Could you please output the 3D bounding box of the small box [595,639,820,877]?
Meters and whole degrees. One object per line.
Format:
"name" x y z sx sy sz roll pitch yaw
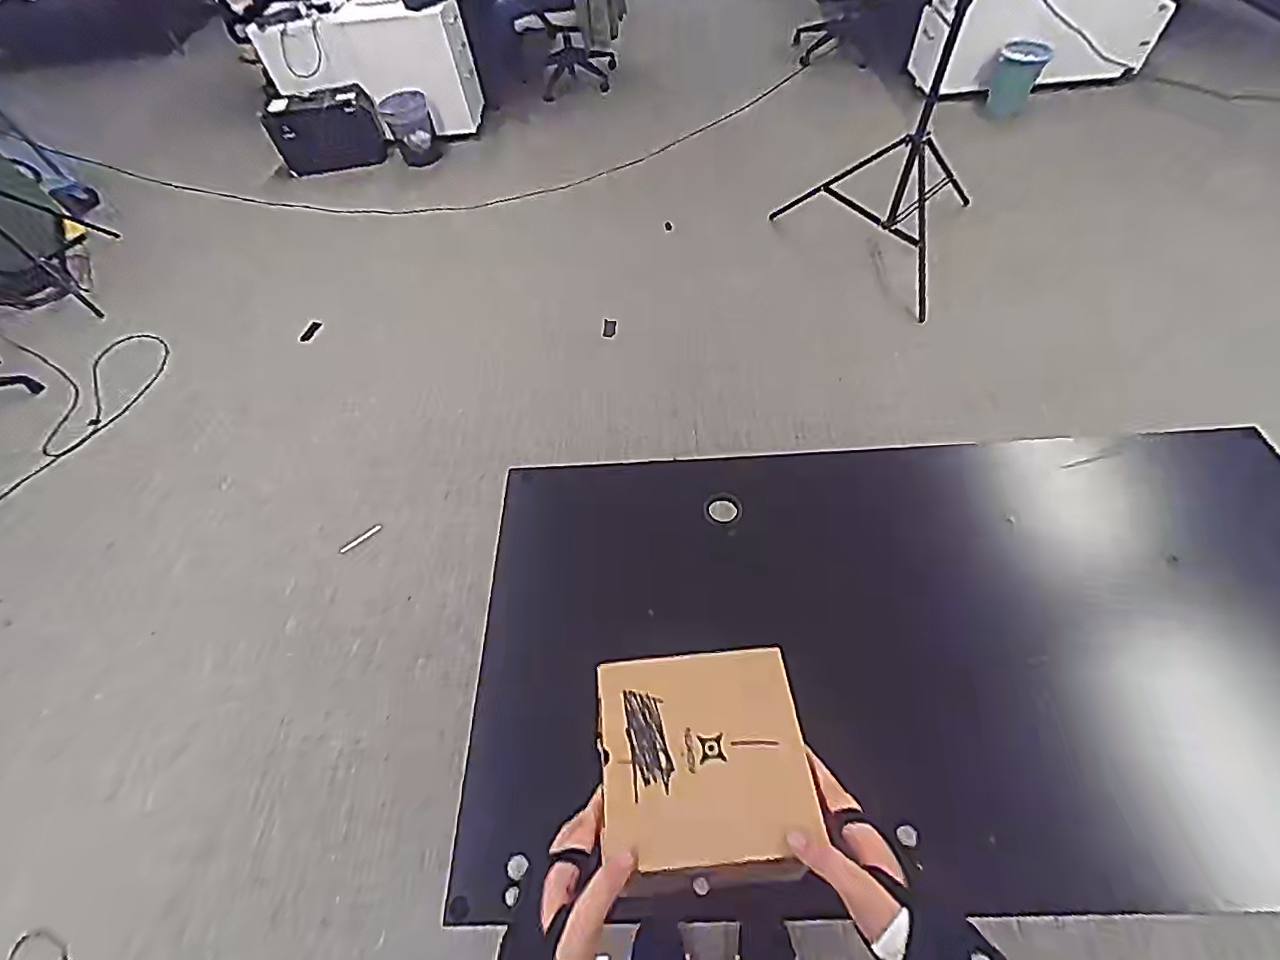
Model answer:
"small box" 0.054 0.274 0.527 0.179 0.176 0.168 -5 49 -1
